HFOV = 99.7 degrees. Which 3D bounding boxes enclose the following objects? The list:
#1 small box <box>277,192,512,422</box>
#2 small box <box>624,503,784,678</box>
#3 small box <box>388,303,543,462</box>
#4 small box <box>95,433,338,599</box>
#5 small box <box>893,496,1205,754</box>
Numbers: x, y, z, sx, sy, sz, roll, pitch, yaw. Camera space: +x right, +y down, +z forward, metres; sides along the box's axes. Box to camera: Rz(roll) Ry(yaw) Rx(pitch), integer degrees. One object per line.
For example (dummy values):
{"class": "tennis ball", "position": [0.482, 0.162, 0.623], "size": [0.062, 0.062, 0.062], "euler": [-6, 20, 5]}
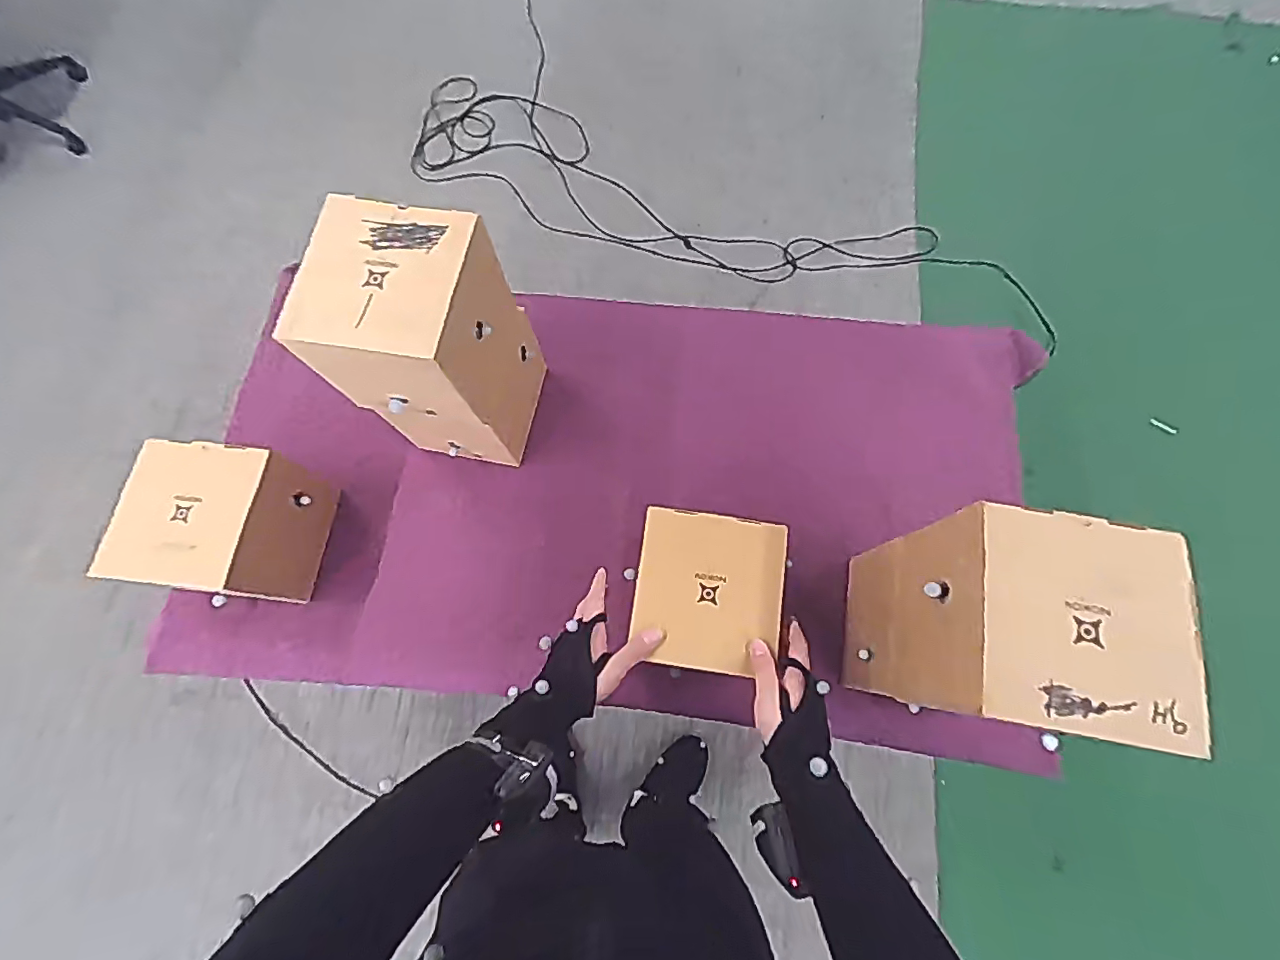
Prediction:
{"class": "small box", "position": [-0.257, -0.186, 0.619], "size": [0.168, 0.176, 0.179], "euler": [9, 75, 4]}
{"class": "small box", "position": [0.078, 0.143, 0.686], "size": [0.168, 0.176, 0.179], "euler": [8, 73, 4]}
{"class": "small box", "position": [-0.247, -0.144, 0.777], "size": [0.168, 0.176, 0.179], "euler": [11, 75, 5]}
{"class": "small box", "position": [-0.541, 0.056, 0.723], "size": [0.168, 0.176, 0.179], "euler": [6, 73, 3]}
{"class": "small box", "position": [0.355, 0.133, 0.506], "size": [0.168, 0.176, 0.179], "euler": [10, 73, 6]}
